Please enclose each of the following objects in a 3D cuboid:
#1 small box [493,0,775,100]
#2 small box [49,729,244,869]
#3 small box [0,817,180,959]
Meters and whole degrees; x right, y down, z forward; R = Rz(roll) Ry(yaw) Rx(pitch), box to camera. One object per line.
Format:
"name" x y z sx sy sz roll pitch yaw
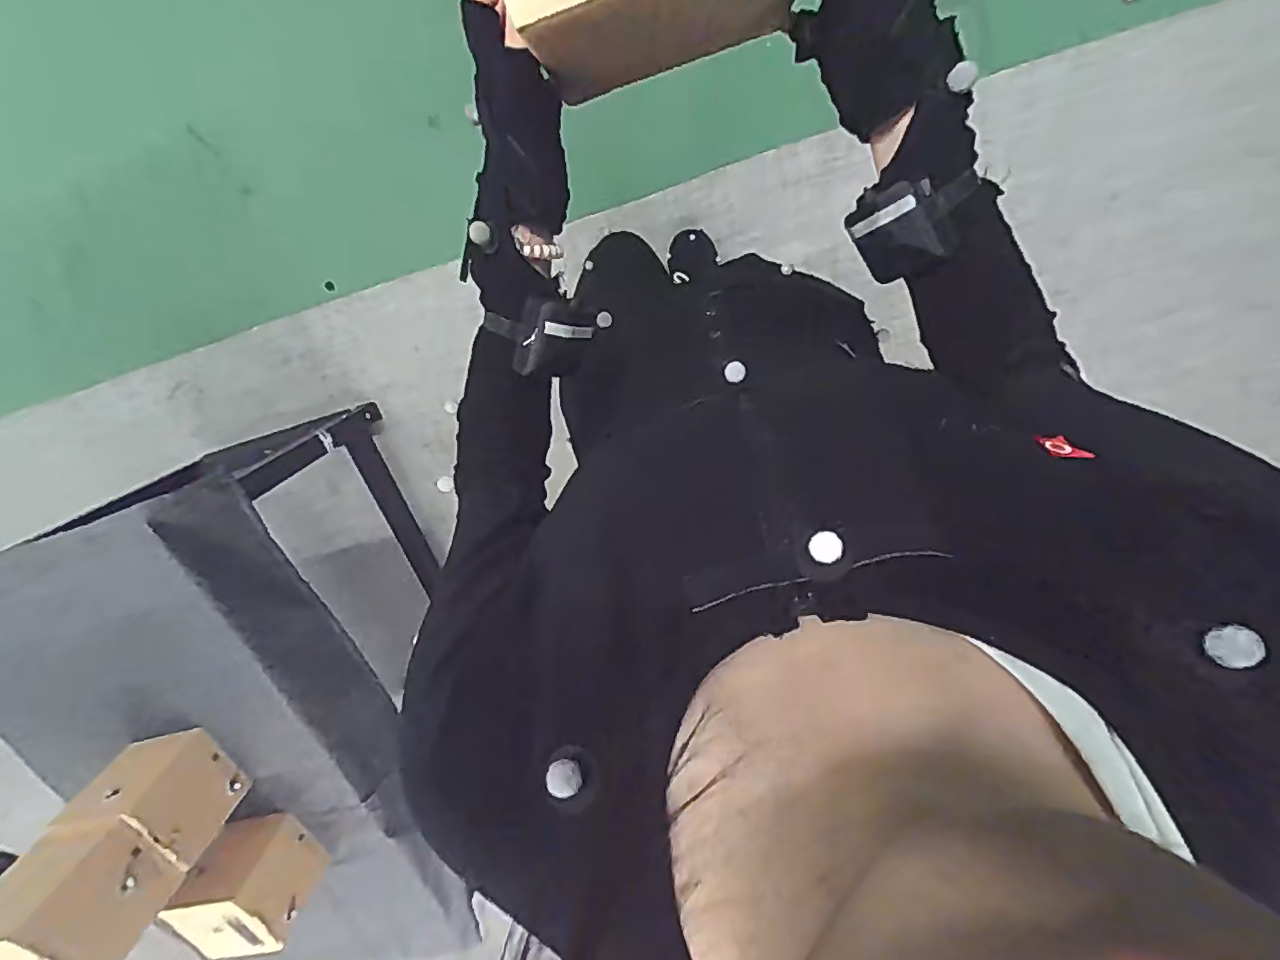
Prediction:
"small box" -0.007 -0.354 0.310 0.179 0.176 0.168 -15 112 8
"small box" -0.878 0.585 0.990 0.179 0.176 0.168 -15 112 11
"small box" -0.897 0.668 0.848 0.179 0.176 0.168 -17 113 10
